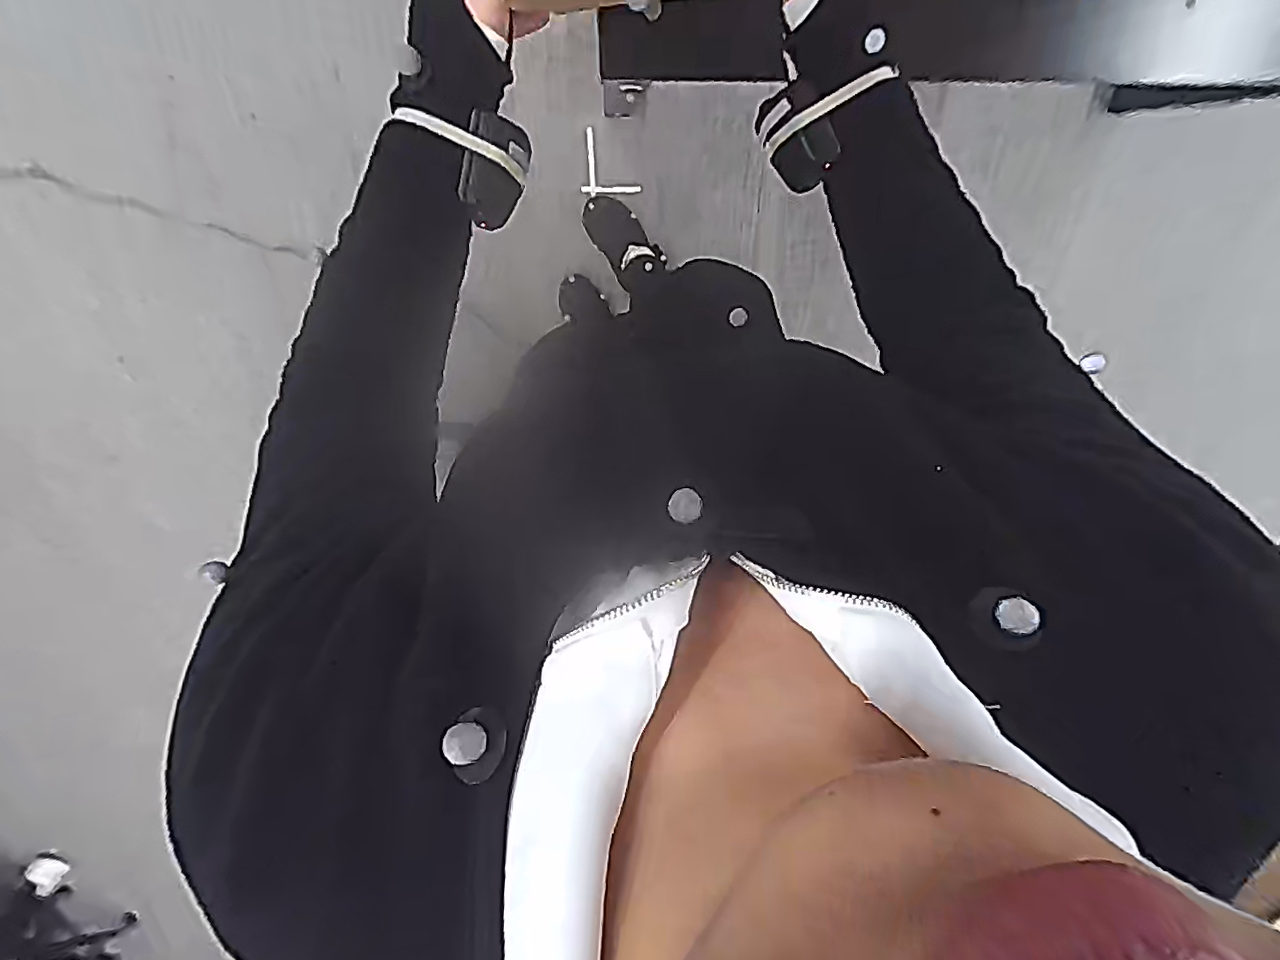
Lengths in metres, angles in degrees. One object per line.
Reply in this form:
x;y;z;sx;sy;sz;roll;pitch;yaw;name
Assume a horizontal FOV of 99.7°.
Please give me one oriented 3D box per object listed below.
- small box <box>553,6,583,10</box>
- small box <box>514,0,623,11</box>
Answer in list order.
-0.009;-0.455;0.378;0.179;0.176;0.168;-9;127;3;small box
-0.005;-0.343;0.255;0.179;0.176;0.168;-7;128;1;small box
